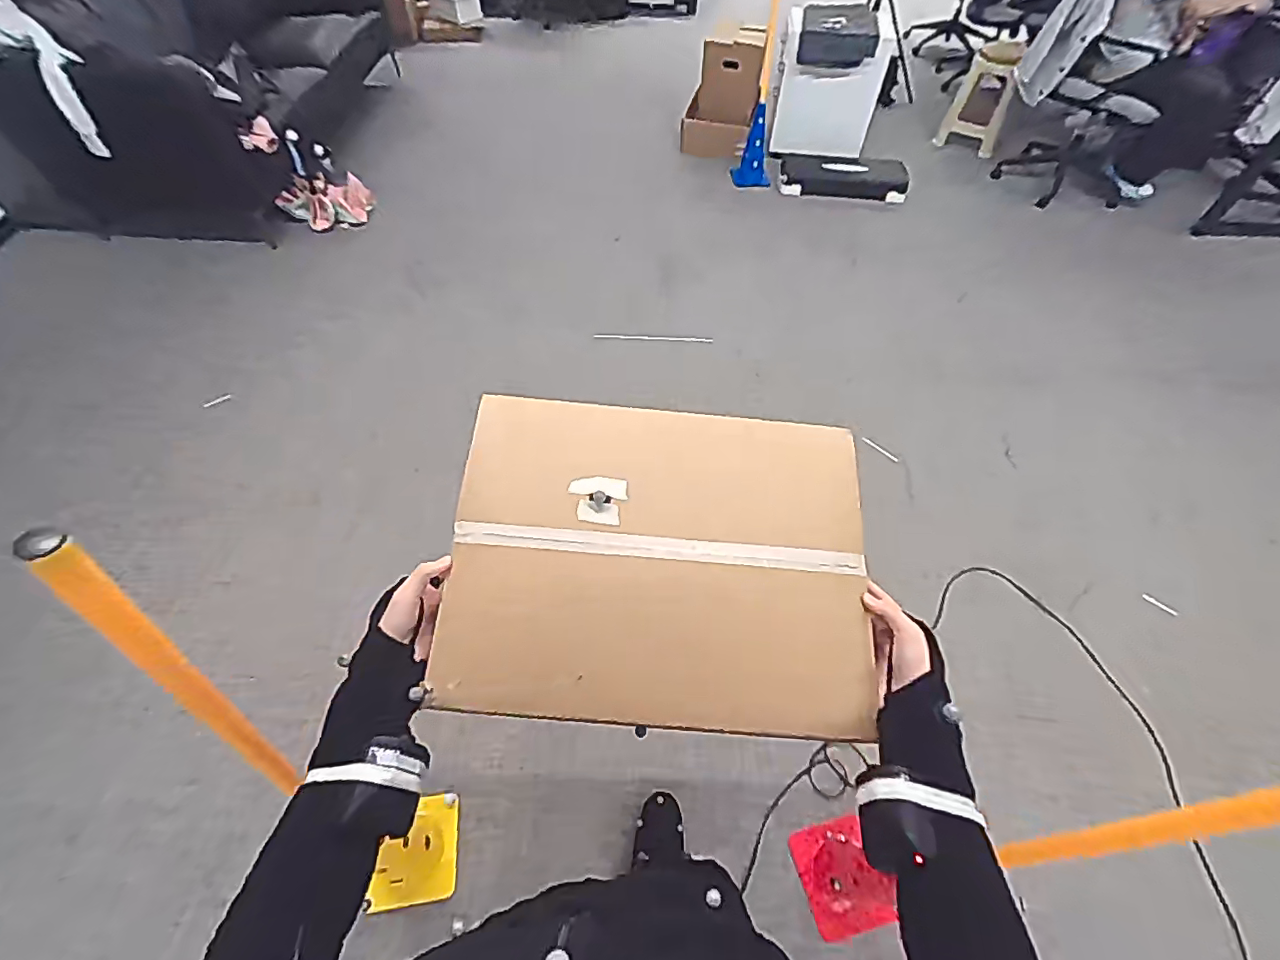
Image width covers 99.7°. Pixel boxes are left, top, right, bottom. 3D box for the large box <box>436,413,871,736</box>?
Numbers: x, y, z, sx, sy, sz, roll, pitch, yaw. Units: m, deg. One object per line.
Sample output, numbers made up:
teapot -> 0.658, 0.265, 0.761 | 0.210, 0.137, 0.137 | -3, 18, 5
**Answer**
large box -> 0.016, 0.134, 0.681 | 0.408, 0.320, 0.320 | 4, 67, -1
